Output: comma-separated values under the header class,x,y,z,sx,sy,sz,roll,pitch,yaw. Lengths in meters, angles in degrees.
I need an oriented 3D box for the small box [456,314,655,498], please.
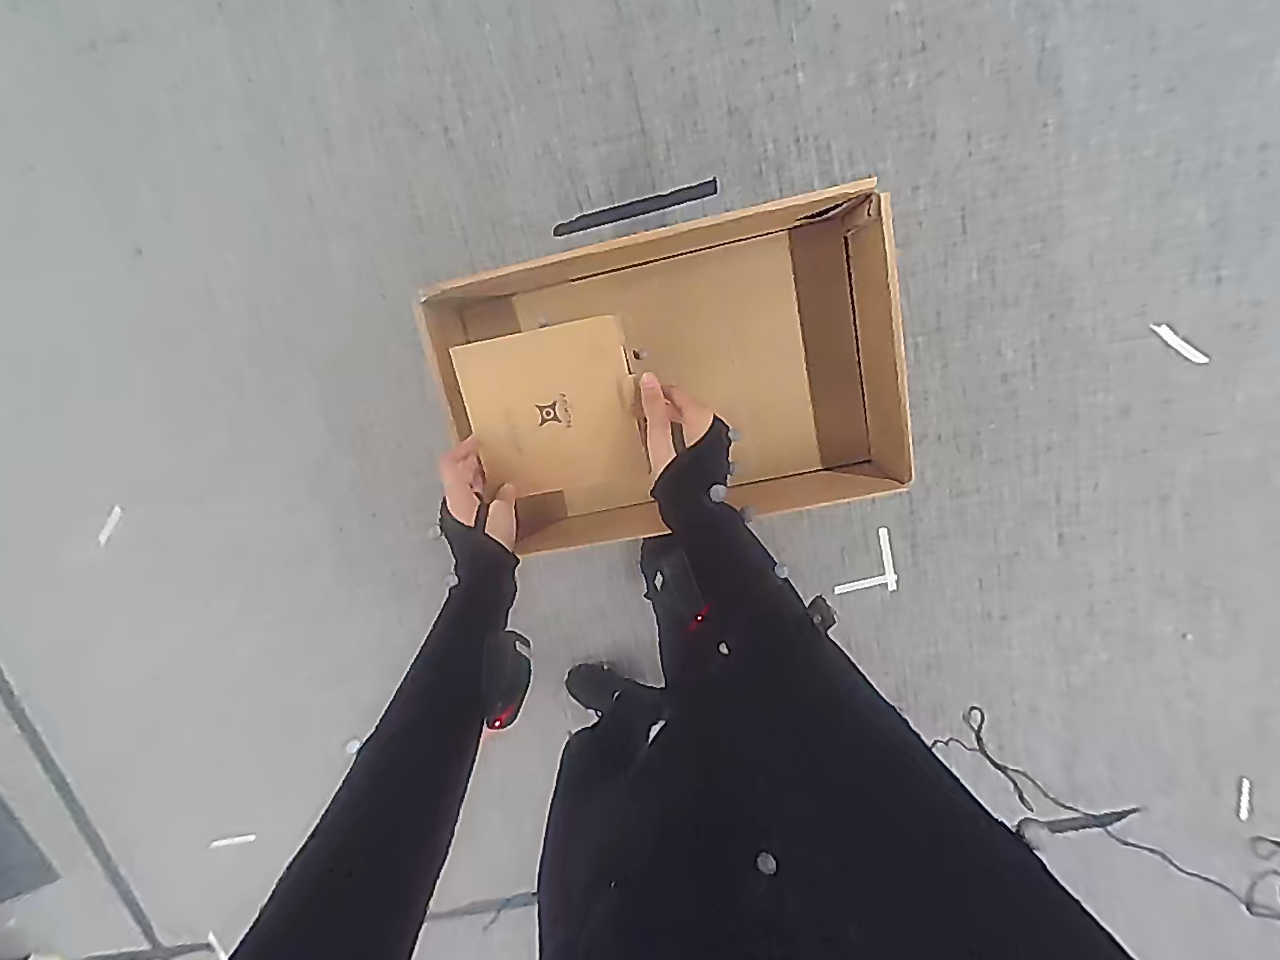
class,x,y,z,sx,sy,sz,roll,pitch,yaw
small box,-0.080,-0.093,0.622,0.179,0.176,0.168,-10,104,7
